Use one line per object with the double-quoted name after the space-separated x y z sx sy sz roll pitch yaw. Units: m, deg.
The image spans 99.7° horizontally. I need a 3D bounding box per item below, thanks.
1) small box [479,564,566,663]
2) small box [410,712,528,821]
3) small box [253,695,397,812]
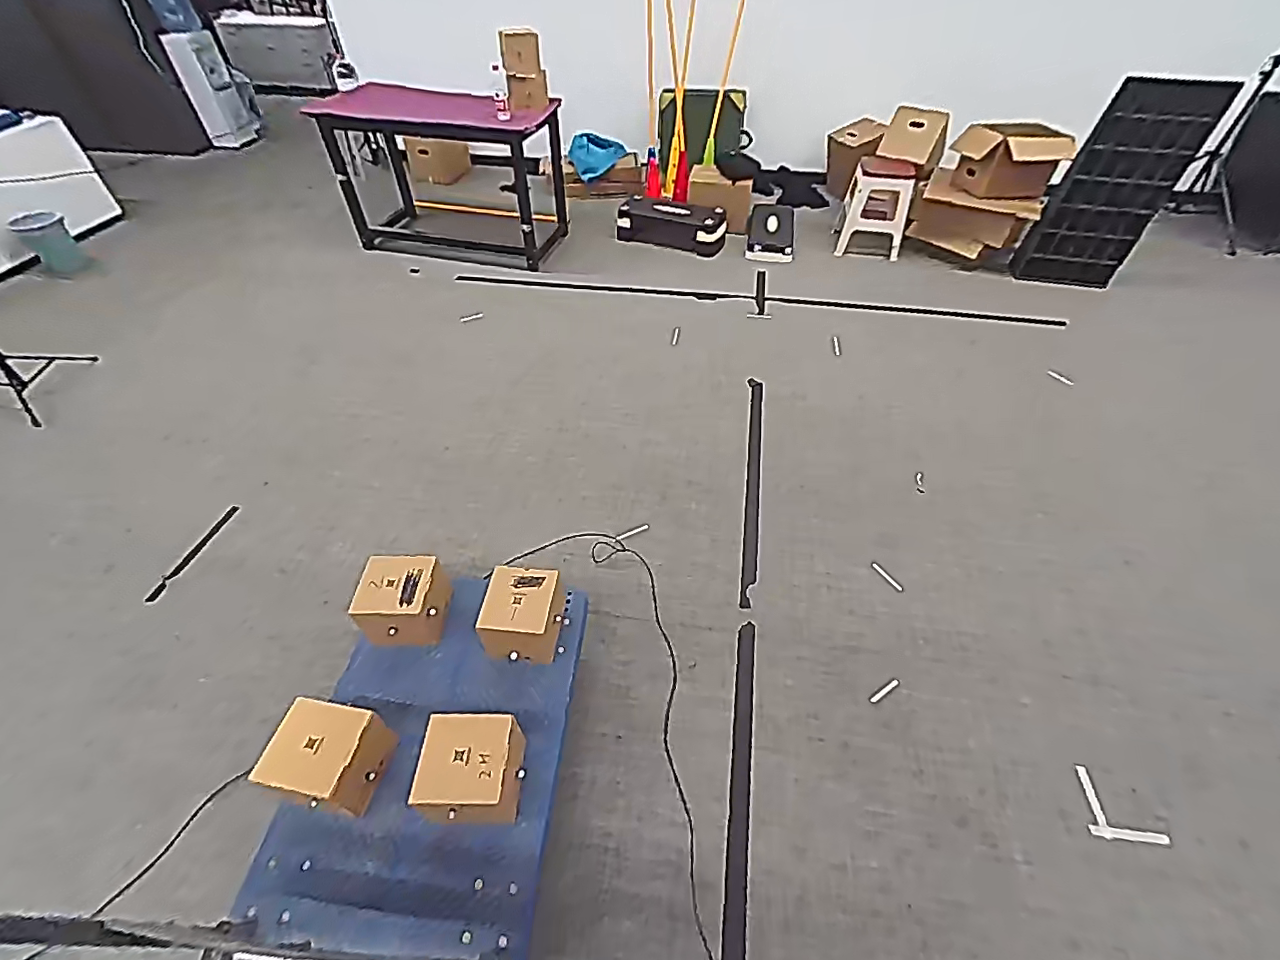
-0.286 0.337 1.367 0.168 0.176 0.179 5 49 4 "small box"
-0.344 0.598 1.125 0.179 0.176 0.168 1 47 1 "small box"
-0.651 0.580 1.142 0.179 0.176 0.168 9 47 5 "small box"
